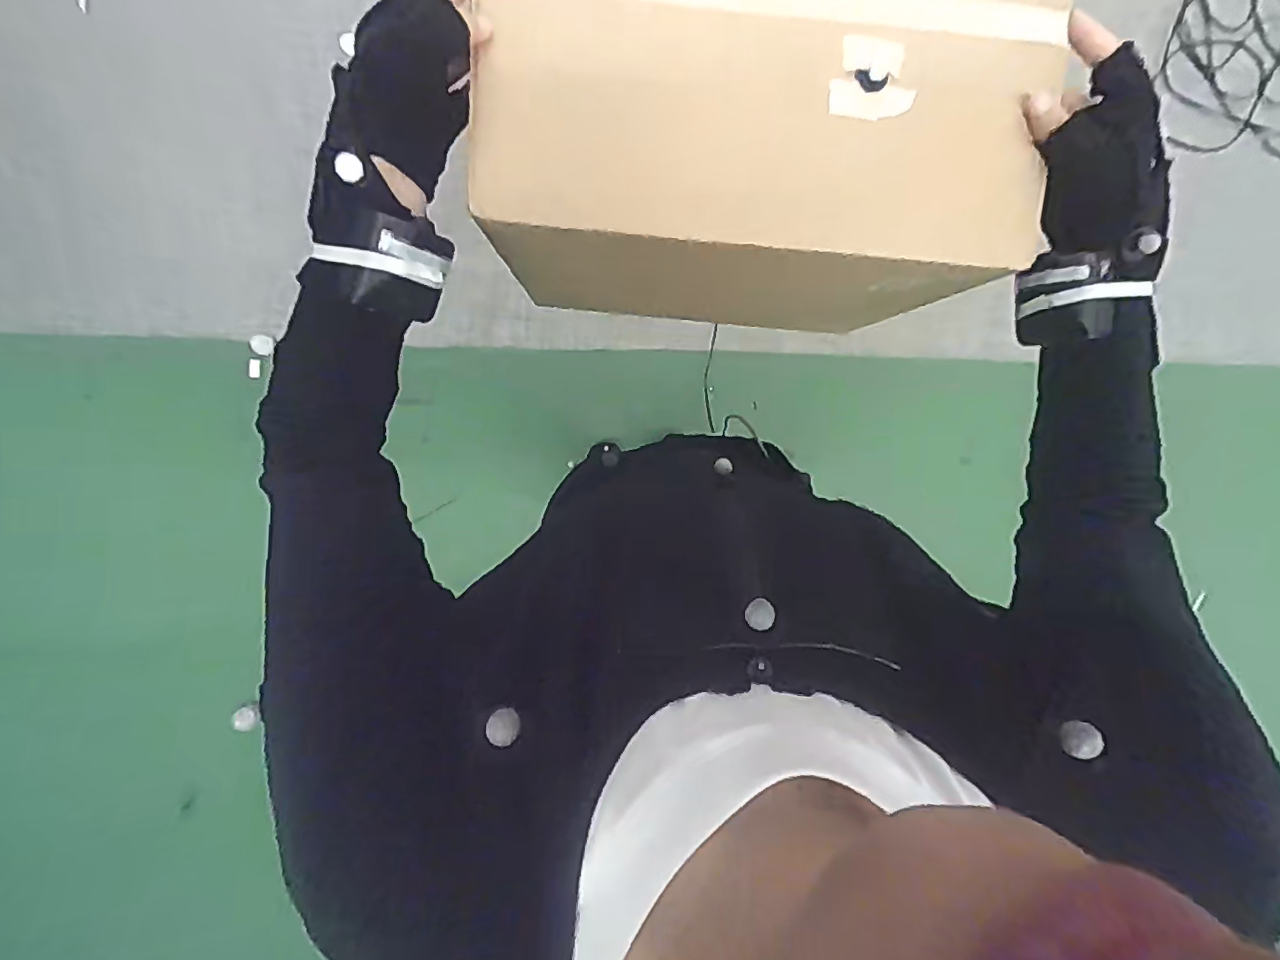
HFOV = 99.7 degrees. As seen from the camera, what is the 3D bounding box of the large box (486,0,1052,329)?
[{"bbox_3d":[0.085,-0.339,0.528,0.408,0.320,0.320,4,97,-3],"label":"large box"}]
